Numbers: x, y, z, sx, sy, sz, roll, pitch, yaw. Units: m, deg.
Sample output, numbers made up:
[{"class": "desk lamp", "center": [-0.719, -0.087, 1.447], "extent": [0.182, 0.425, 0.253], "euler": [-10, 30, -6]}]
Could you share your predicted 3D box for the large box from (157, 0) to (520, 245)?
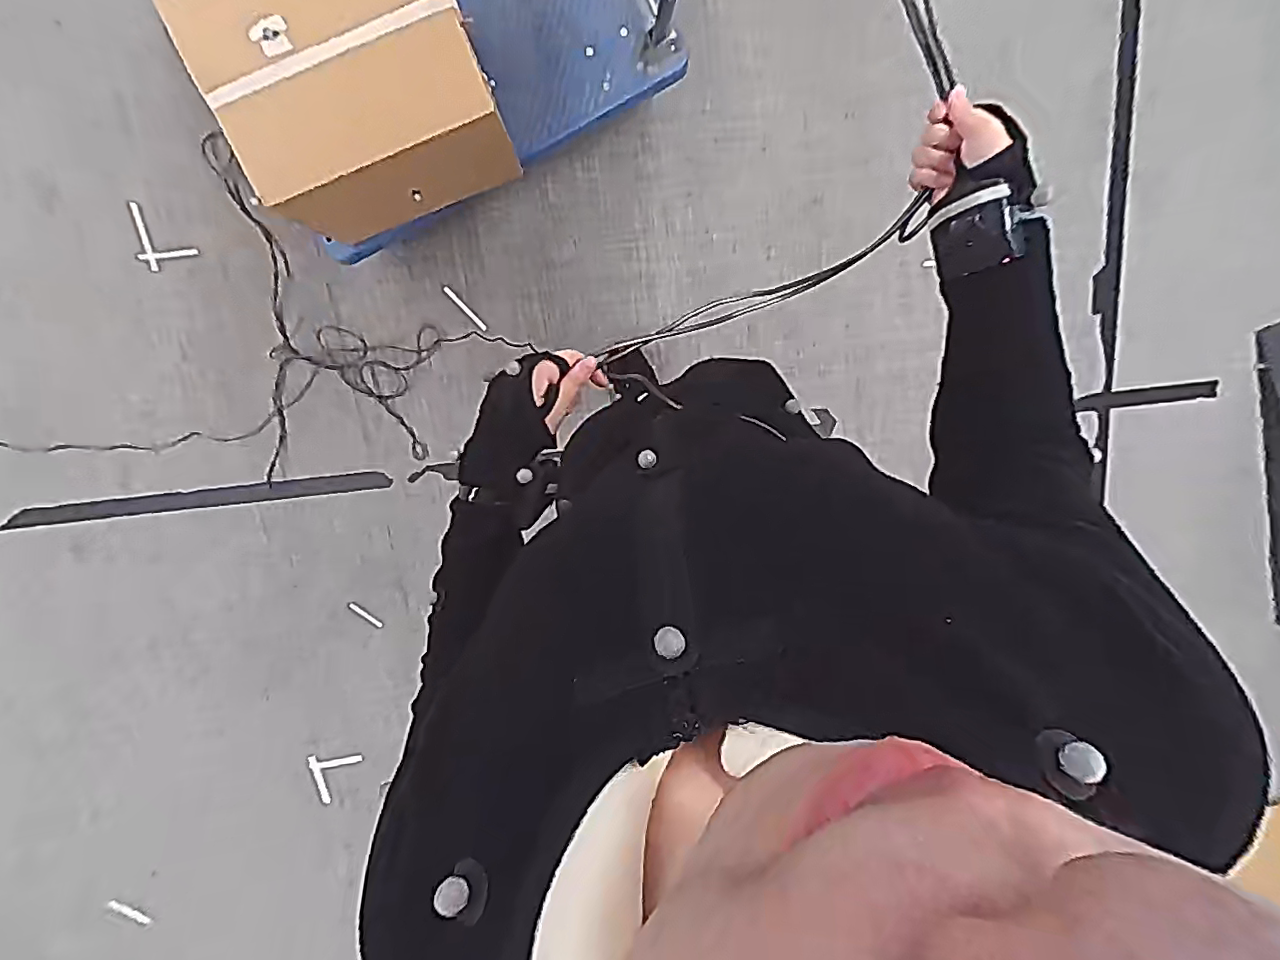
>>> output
[{"class": "large box", "center": [-0.477, -0.671, 0.960], "extent": [0.408, 0.320, 0.320], "euler": [-22, 103, 2]}]
